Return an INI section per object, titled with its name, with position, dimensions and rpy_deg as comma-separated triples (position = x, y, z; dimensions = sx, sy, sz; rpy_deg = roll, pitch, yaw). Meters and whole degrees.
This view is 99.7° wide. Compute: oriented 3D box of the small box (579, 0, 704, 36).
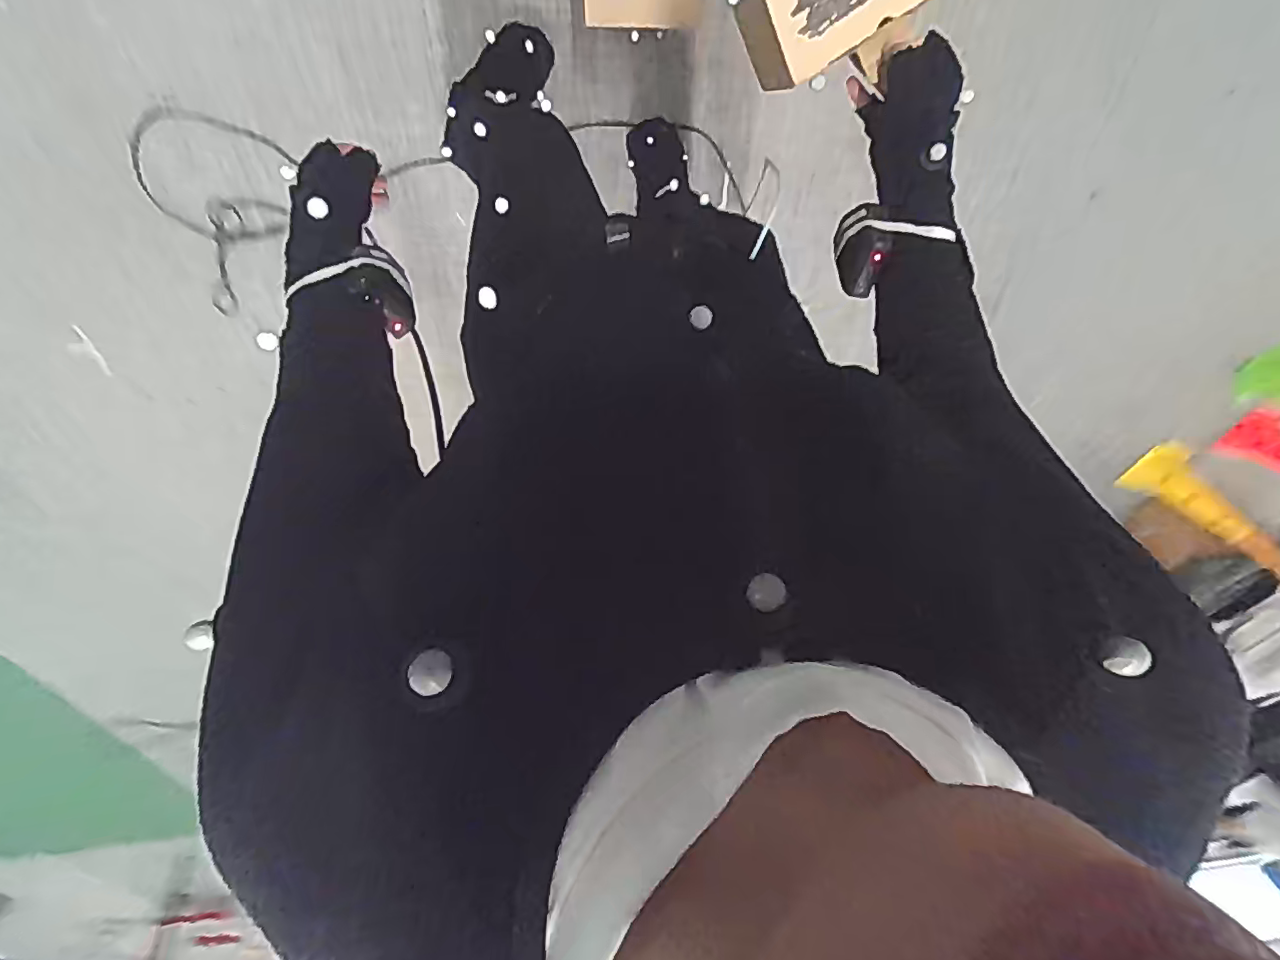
[small box]
position = -0.002, -0.764, 0.796
dimensions = 0.179, 0.176, 0.168
rpy_deg = -3, 131, -7
